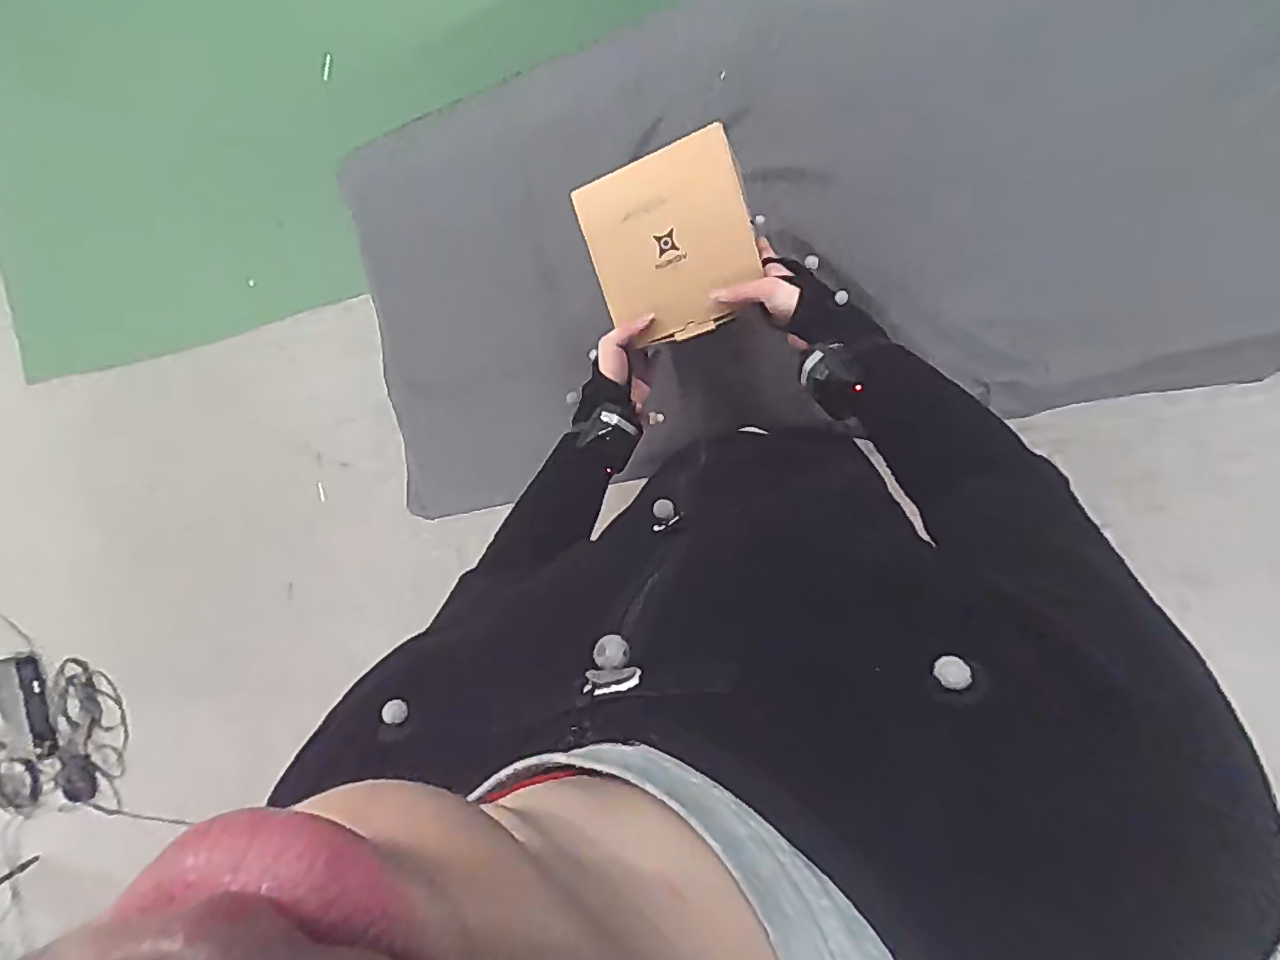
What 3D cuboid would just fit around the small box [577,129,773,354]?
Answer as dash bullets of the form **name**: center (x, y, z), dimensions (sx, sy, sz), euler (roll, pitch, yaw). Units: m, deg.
- **small box**: center (0.055, -0.263, 0.633), dimensions (0.168, 0.176, 0.179), euler (-16, 103, 19)
